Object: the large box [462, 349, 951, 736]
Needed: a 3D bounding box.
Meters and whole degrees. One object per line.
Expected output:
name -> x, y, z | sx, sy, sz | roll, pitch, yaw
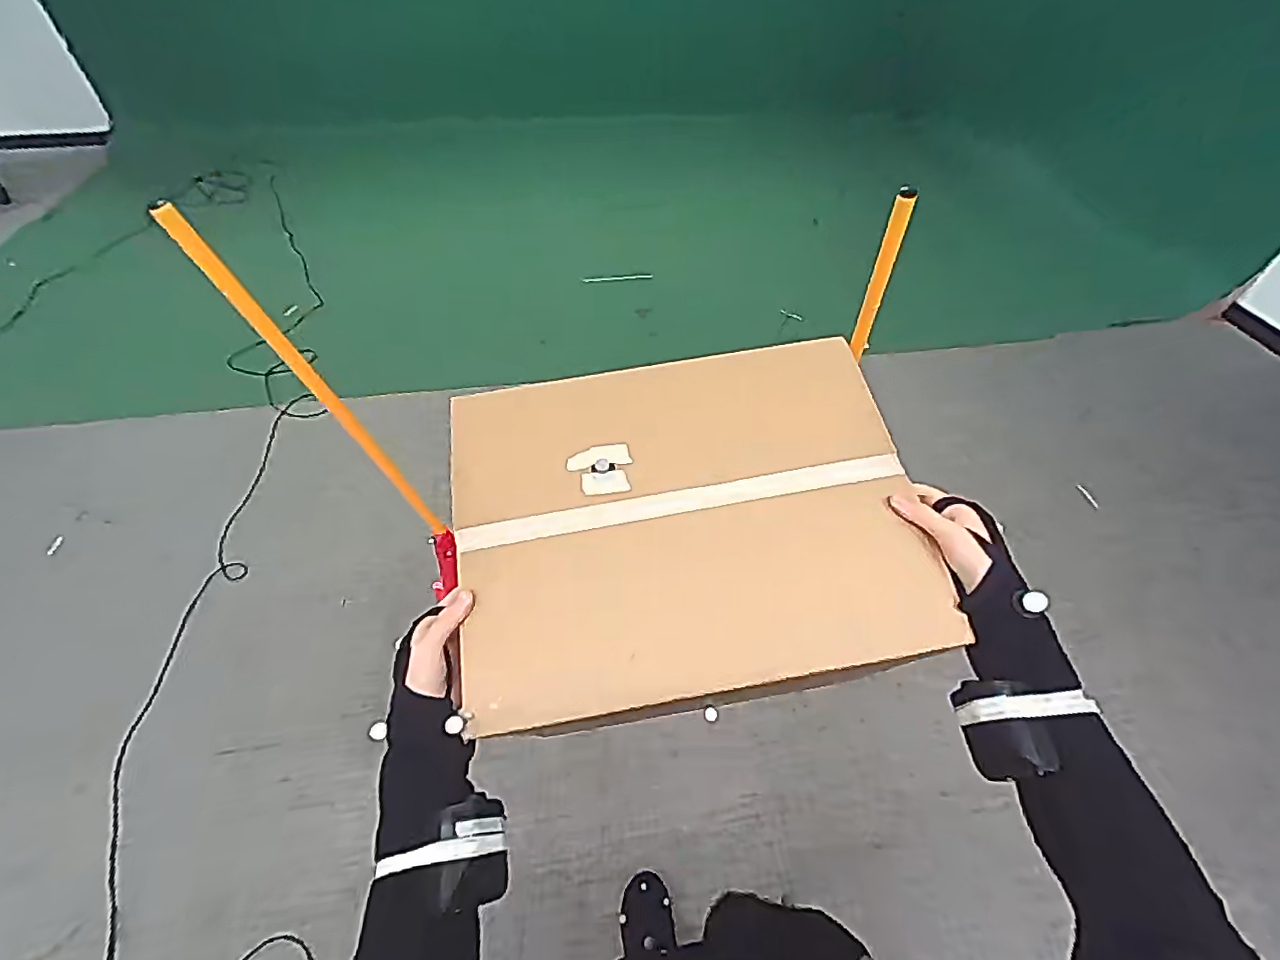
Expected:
large box -> 0.046, 0.094, 0.635 | 0.408, 0.320, 0.320 | -10, 64, -2
